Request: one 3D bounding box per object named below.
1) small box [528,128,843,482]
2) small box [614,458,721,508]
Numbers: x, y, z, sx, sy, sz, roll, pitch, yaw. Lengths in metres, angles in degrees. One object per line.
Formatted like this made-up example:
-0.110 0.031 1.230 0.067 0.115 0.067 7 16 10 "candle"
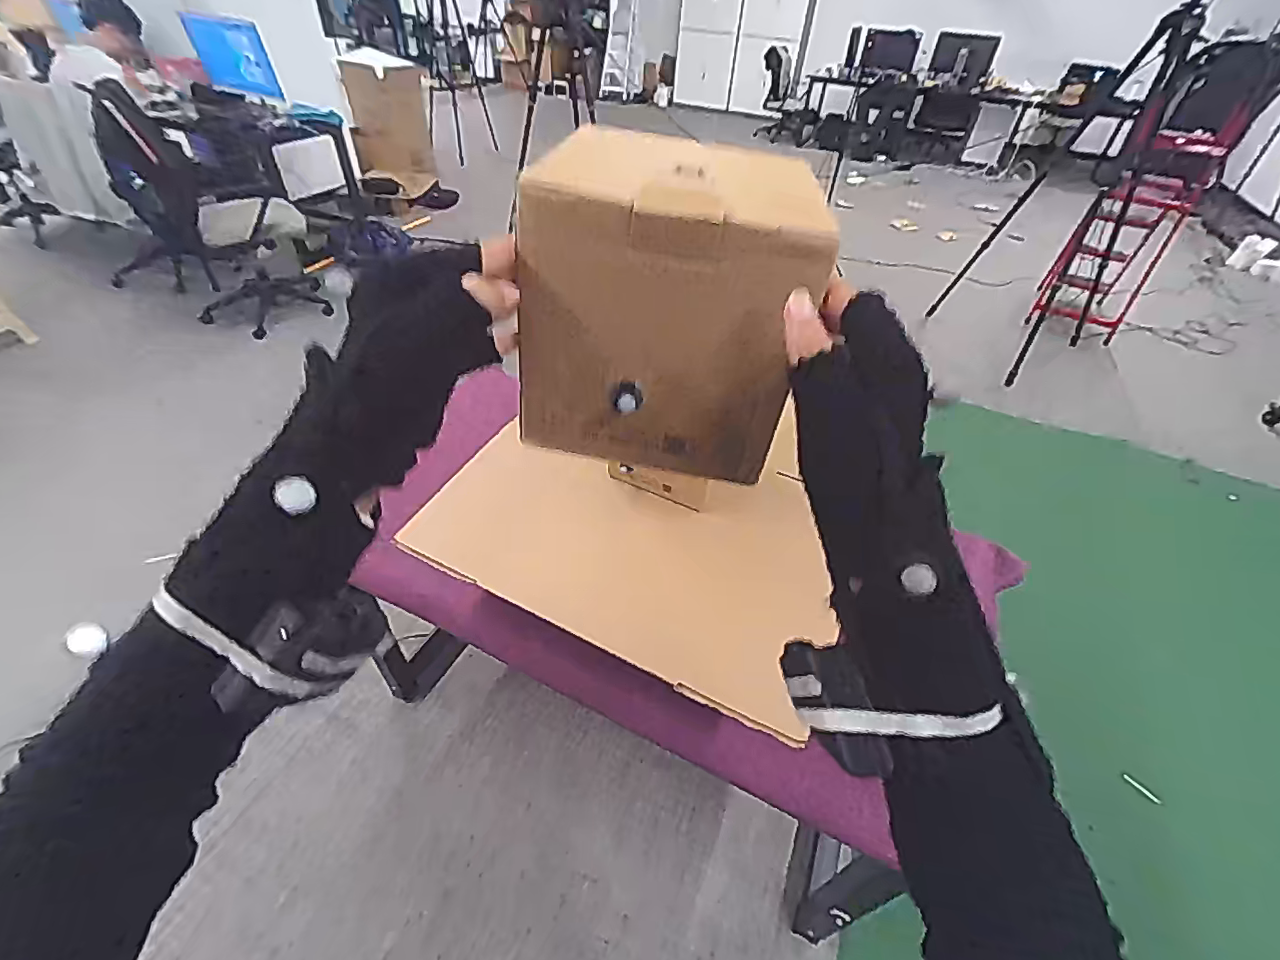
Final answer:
0.022 -0.126 0.384 0.168 0.176 0.179 10 42 1 "small box"
0.067 -0.084 0.840 0.168 0.176 0.179 22 43 18 "small box"
